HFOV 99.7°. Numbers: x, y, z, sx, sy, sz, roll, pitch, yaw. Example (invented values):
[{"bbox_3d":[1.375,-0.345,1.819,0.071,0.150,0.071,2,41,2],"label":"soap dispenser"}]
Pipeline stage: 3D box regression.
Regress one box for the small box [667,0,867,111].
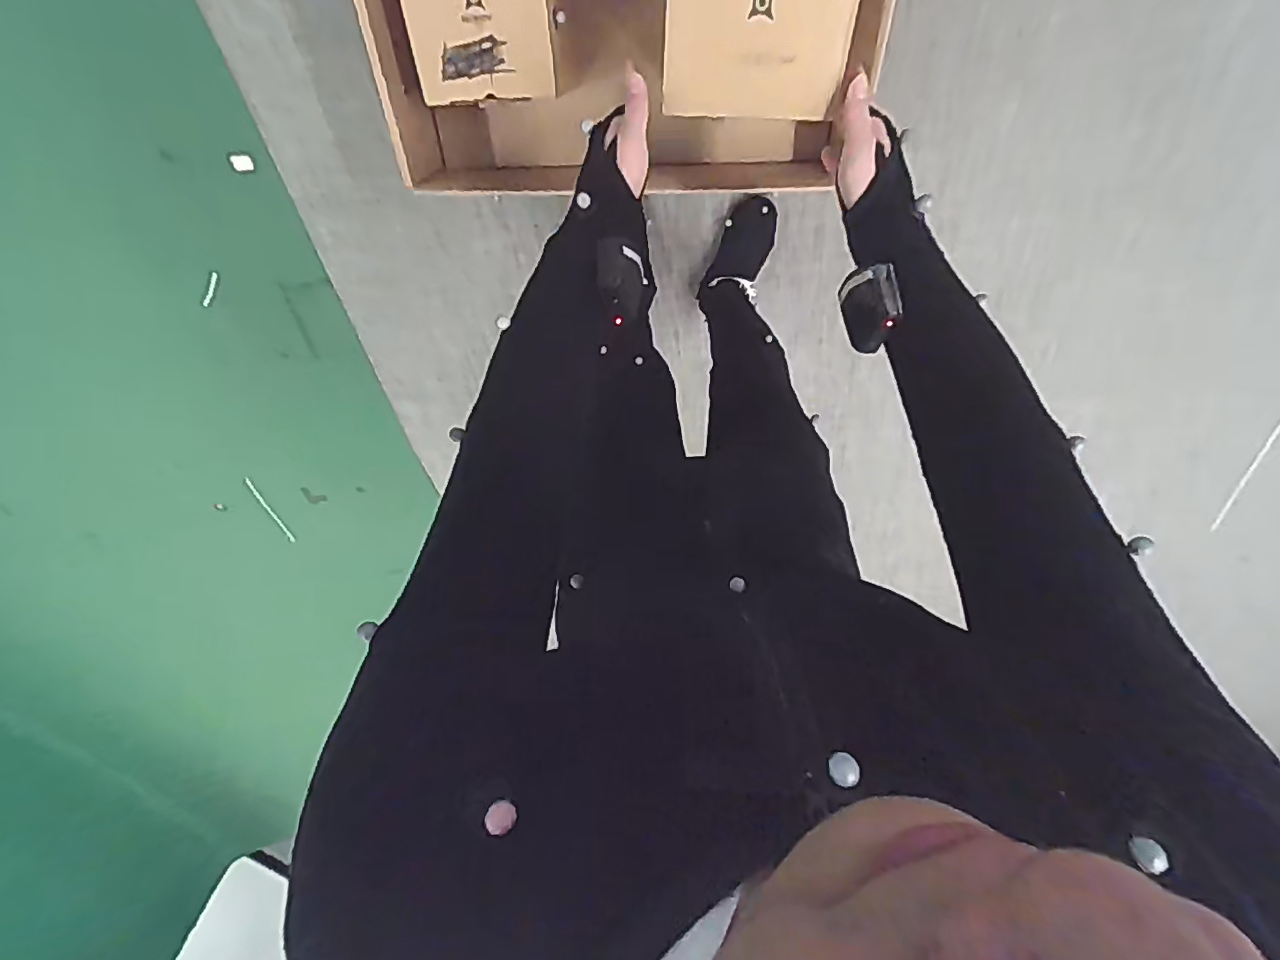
[{"bbox_3d":[0.113,-0.464,0.507,0.168,0.176,0.179,4,130,1],"label":"small box"}]
